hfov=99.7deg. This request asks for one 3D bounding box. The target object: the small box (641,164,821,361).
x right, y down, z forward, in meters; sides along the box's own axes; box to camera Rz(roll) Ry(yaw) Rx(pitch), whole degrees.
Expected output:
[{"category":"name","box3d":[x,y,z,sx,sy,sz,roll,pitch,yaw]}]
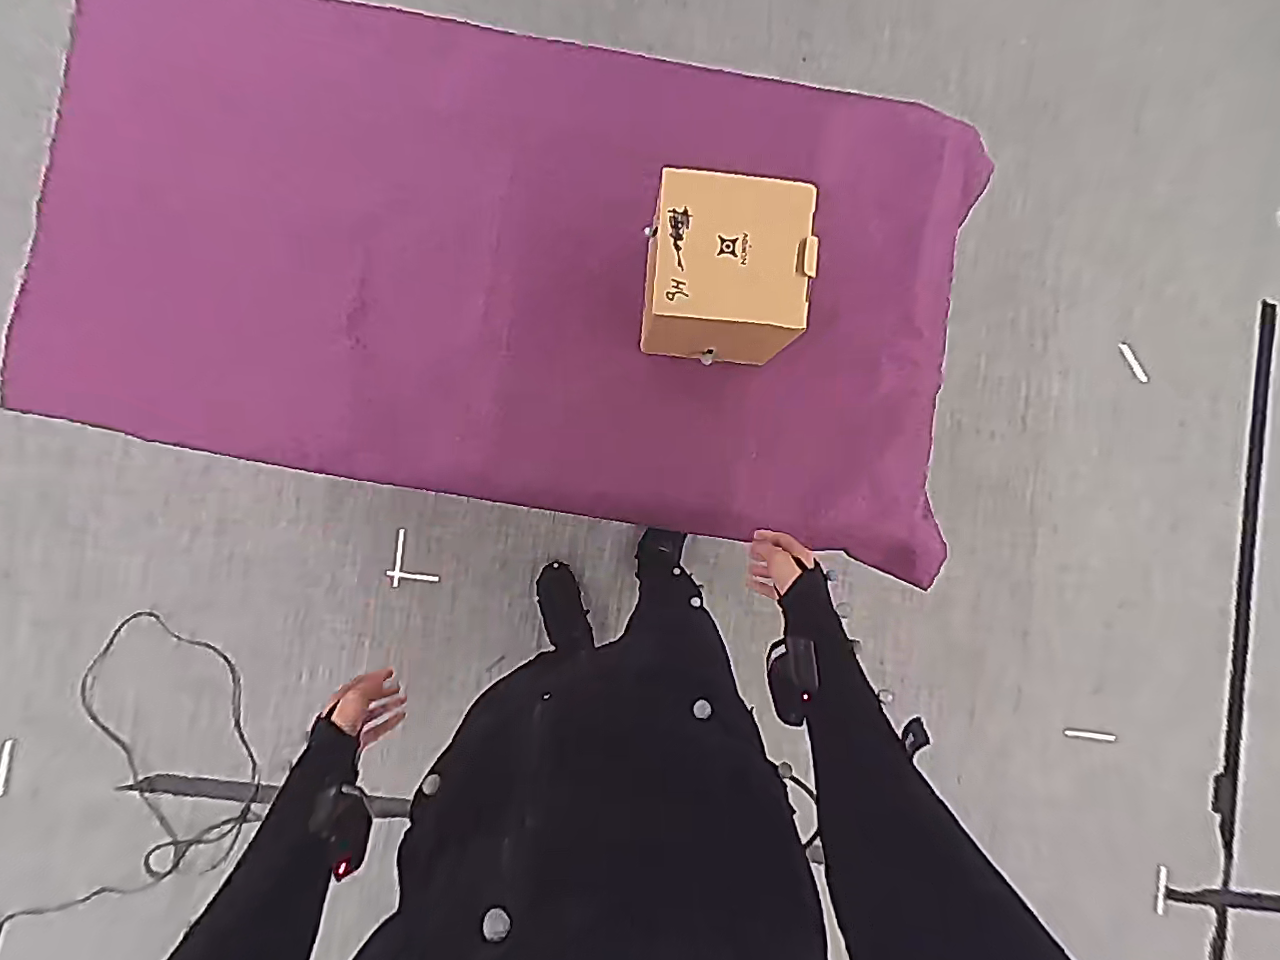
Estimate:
[{"category":"small box","box3d":[0.101,-0.252,0.670,0.179,0.176,0.168,5,87,-4]}]
